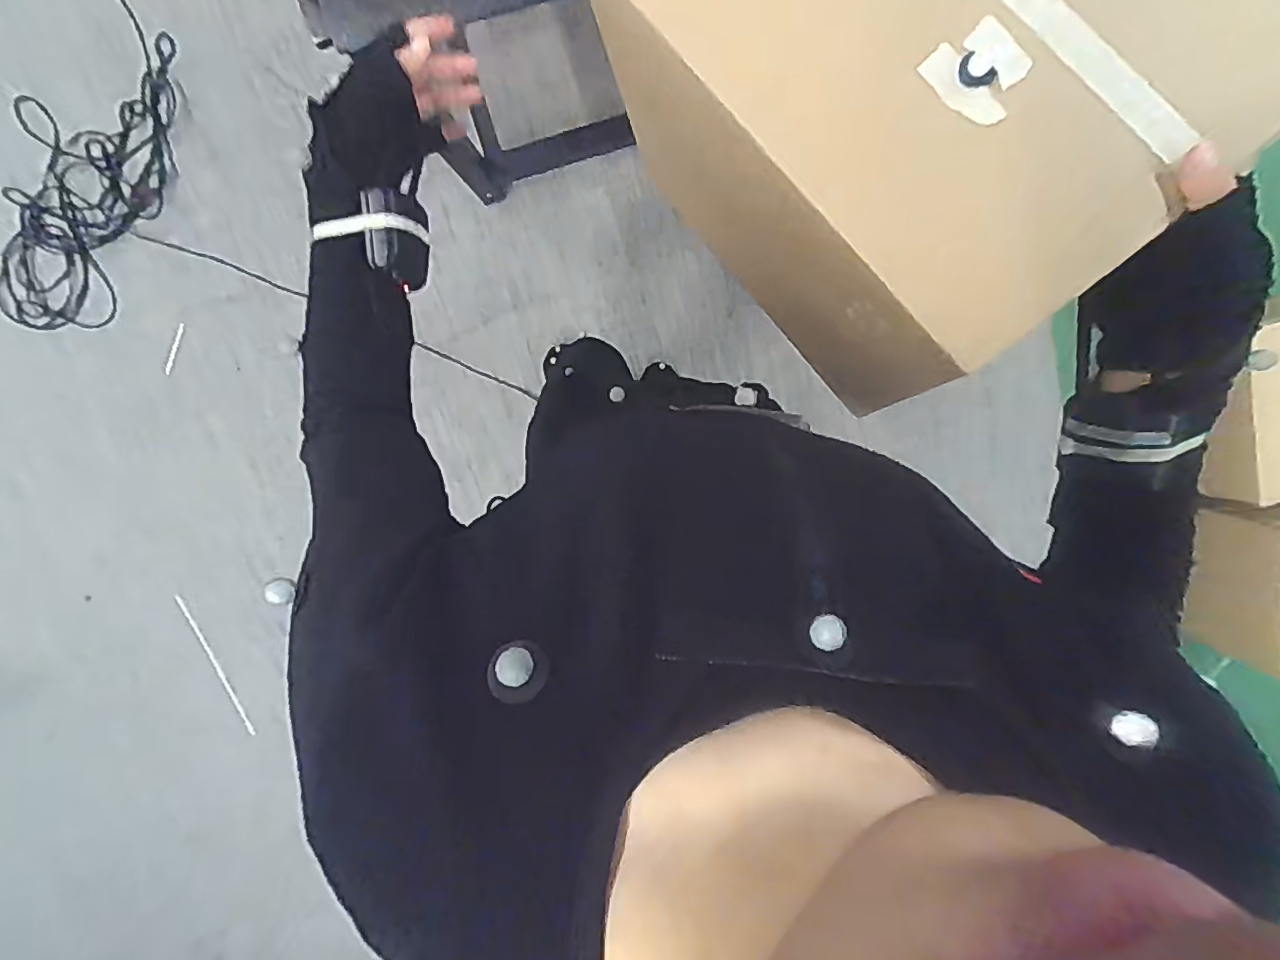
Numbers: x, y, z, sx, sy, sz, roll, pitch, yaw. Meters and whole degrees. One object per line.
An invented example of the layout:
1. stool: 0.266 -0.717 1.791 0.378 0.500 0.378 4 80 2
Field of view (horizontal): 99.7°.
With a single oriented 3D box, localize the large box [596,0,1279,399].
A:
1. large box: 0.214 -0.329 0.462 0.320 0.320 0.408 -40 85 11
